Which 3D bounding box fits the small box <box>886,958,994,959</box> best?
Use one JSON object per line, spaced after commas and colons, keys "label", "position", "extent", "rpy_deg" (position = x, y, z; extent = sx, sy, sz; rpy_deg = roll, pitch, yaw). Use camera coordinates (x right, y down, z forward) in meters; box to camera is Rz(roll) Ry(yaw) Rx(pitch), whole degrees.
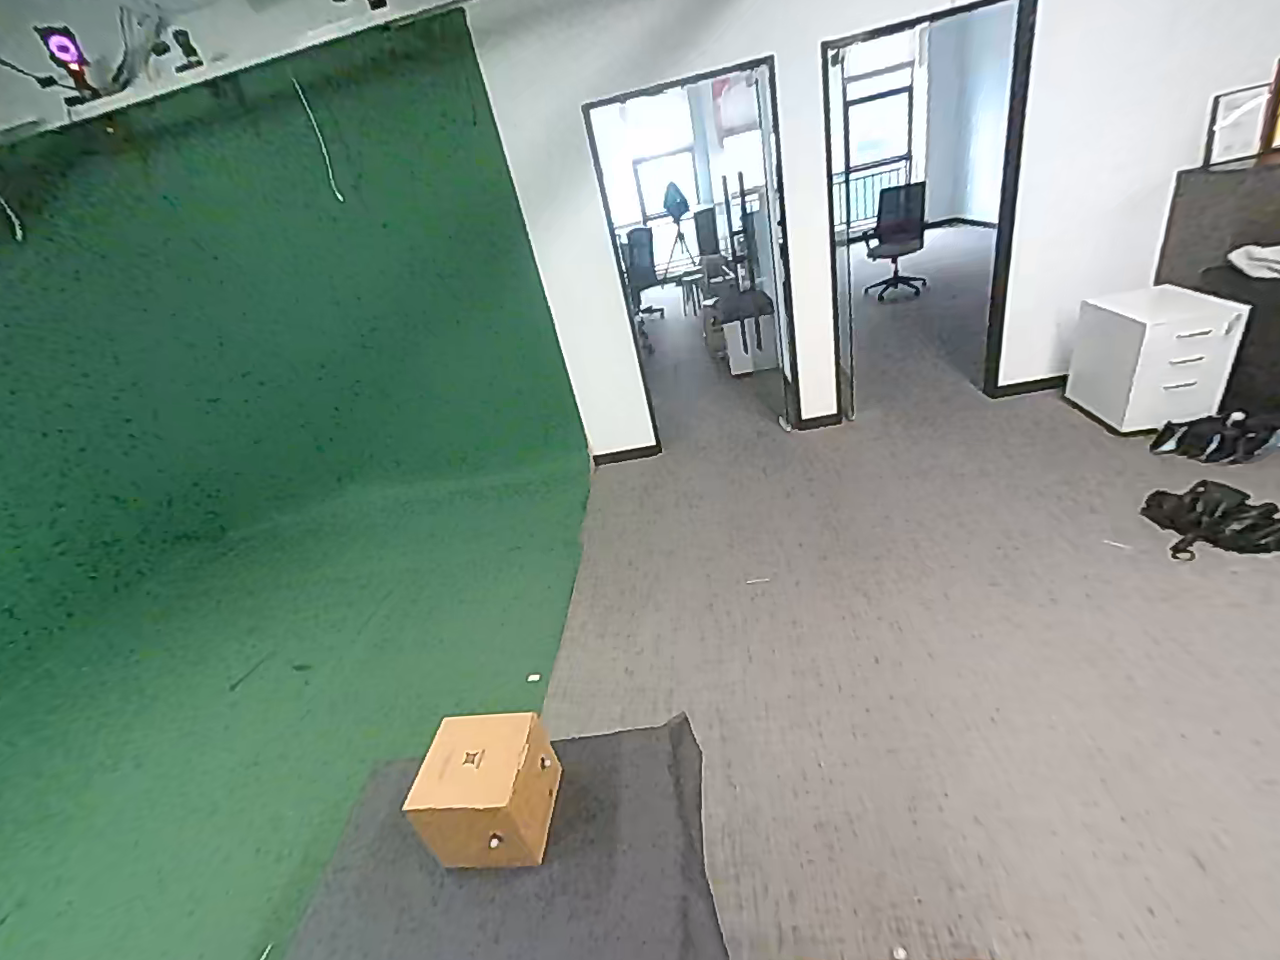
{"label": "small box", "position": [0.179, 0.447, 0.353], "extent": [0.168, 0.176, 0.179], "rpy_deg": [-9, 36, 8]}

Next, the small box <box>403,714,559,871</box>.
{"label": "small box", "position": [-0.251, 0.522, 0.906], "extent": [0.179, 0.176, 0.168], "rpy_deg": [-9, 26, 11]}
